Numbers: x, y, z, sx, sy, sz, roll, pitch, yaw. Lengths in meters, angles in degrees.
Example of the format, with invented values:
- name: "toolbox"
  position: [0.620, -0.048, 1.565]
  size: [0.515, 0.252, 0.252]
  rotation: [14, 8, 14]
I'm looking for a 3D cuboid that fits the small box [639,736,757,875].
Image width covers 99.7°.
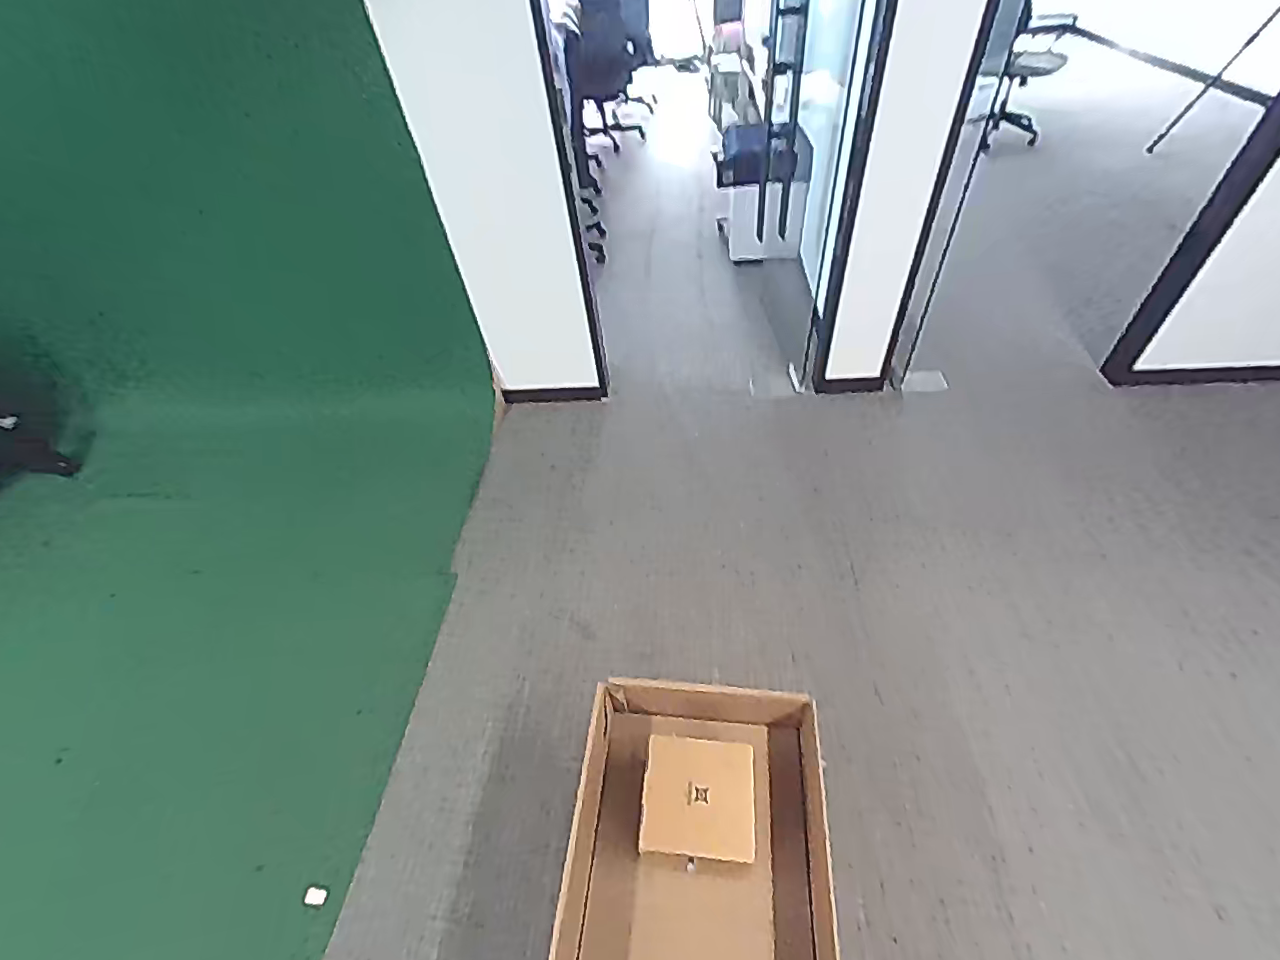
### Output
- name: "small box"
  position: [0.102, 0.550, 0.911]
  size: [0.179, 0.176, 0.168]
  rotation: [1, 48, 9]
